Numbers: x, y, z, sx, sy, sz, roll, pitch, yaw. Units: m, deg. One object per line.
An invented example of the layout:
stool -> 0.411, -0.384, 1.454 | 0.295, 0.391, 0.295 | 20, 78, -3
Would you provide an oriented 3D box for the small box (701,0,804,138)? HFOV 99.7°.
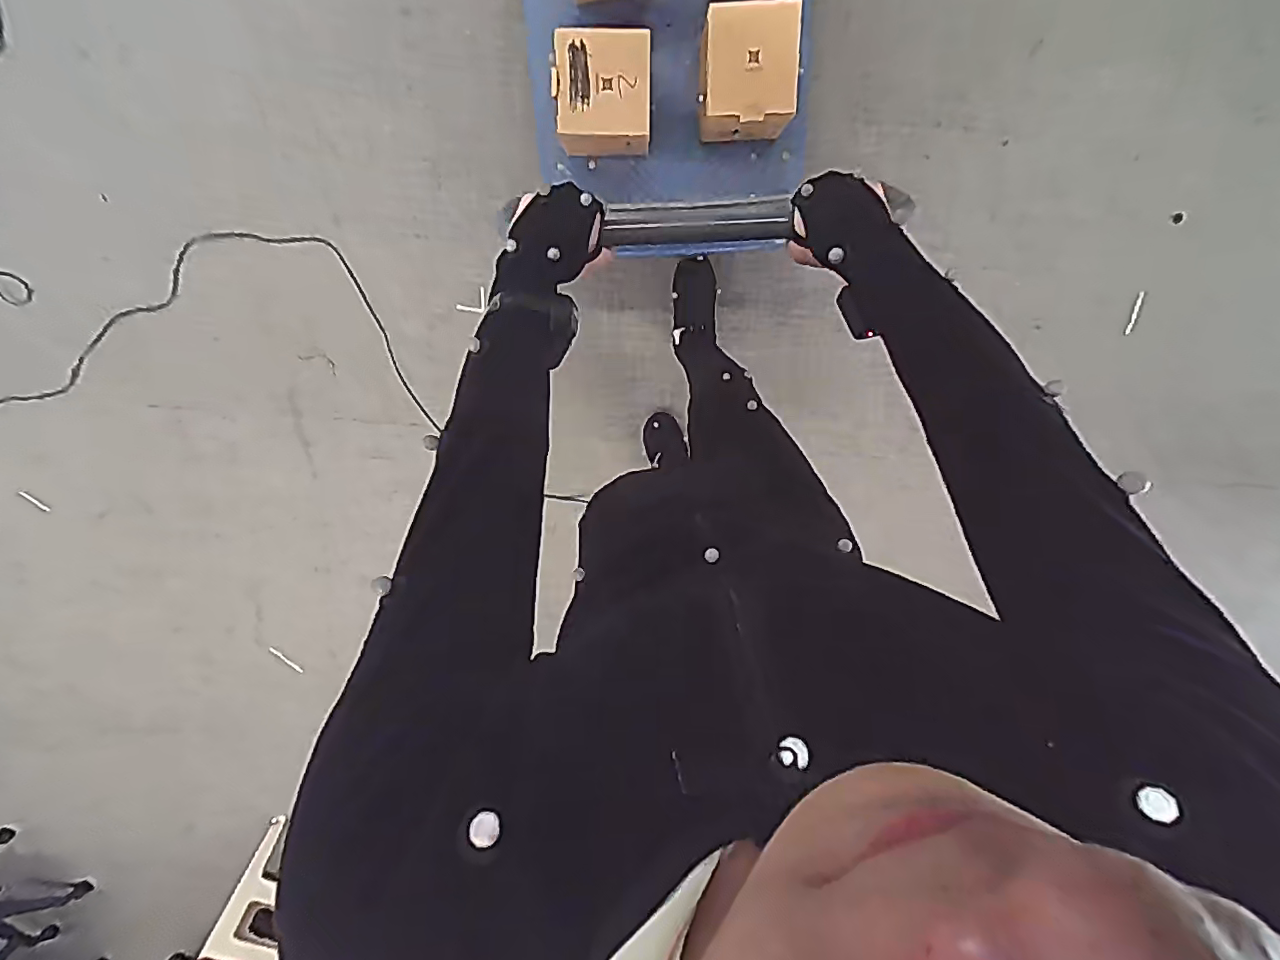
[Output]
small box -> 0.208, -0.788, 1.050 | 0.168, 0.176, 0.179 | -2, 110, 1
